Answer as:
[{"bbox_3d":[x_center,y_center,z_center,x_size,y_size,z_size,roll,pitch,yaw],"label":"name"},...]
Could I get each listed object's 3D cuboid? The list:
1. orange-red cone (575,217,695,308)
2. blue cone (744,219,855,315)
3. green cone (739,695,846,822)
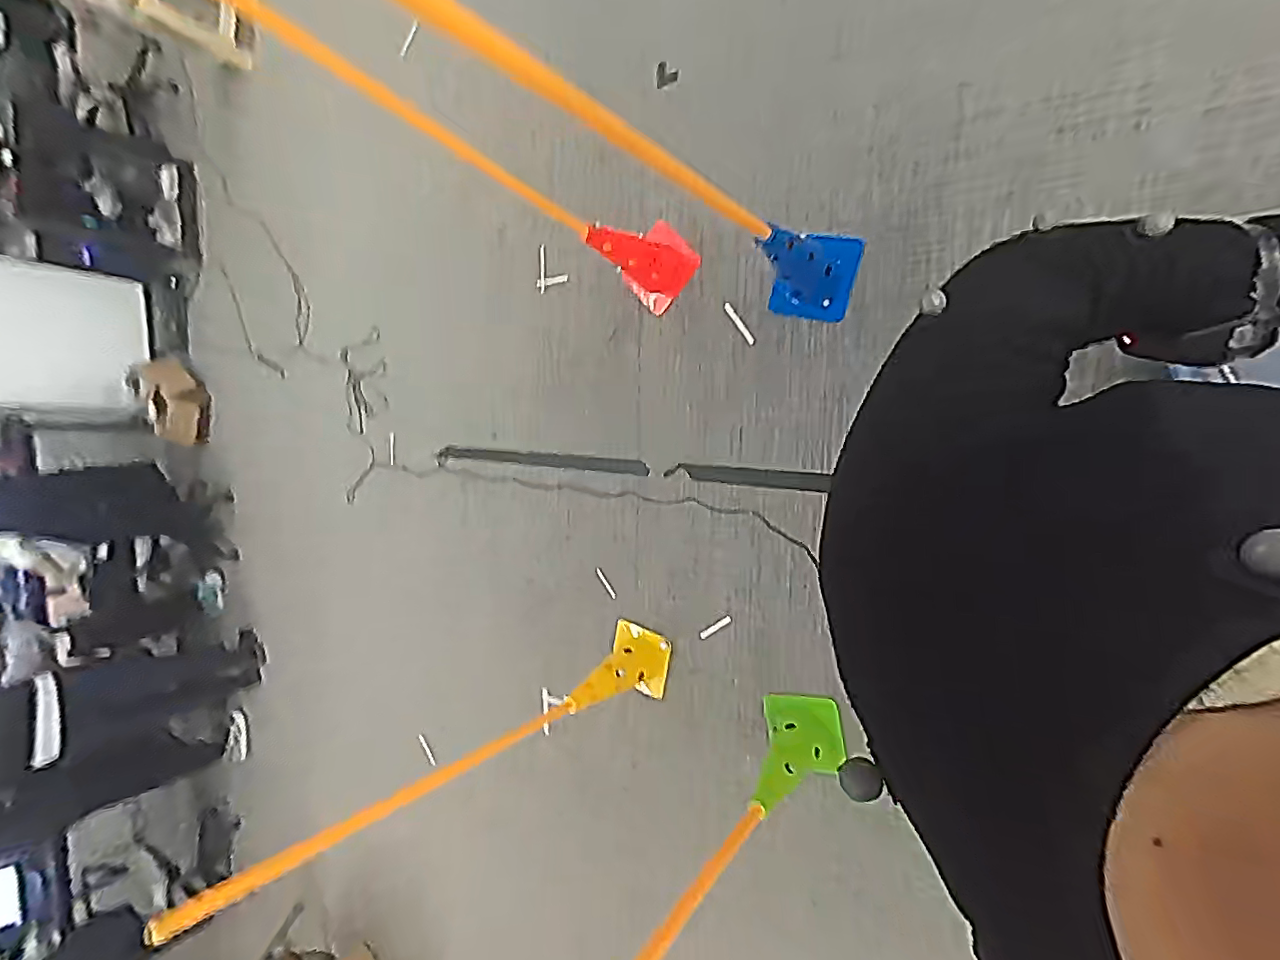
[{"bbox_3d":[-0.042,-0.609,1.412,0.198,0.360,0.199,-47,71,28],"label":"orange-red cone"},{"bbox_3d":[0.330,-0.499,1.196,0.192,0.380,0.193,22,106,31],"label":"blue cone"},{"bbox_3d":[0.330,0.680,1.277,0.202,0.368,0.200,-11,88,35],"label":"green cone"}]
